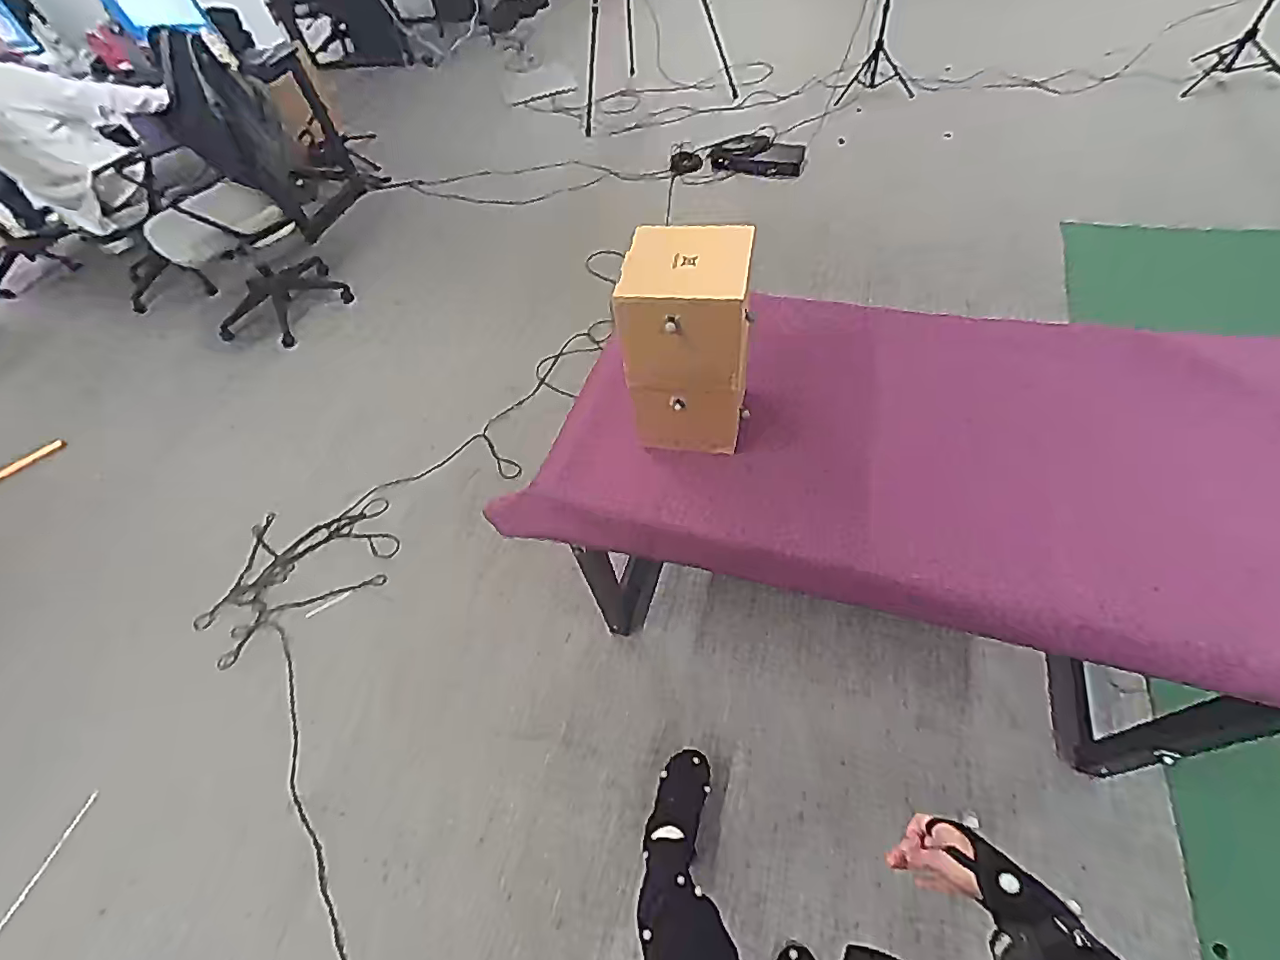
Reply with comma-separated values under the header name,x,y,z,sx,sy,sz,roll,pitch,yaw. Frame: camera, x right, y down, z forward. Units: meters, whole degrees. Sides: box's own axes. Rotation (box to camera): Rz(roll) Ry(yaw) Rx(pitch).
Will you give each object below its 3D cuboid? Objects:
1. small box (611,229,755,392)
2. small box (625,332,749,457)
name,x,y,z,sx,sy,sz,roll,pitch,yaw
small box,0.072,-0.246,0.800,0.179,0.176,0.168,5,56,13
small box,0.088,-0.156,0.934,0.179,0.176,0.168,7,56,13
